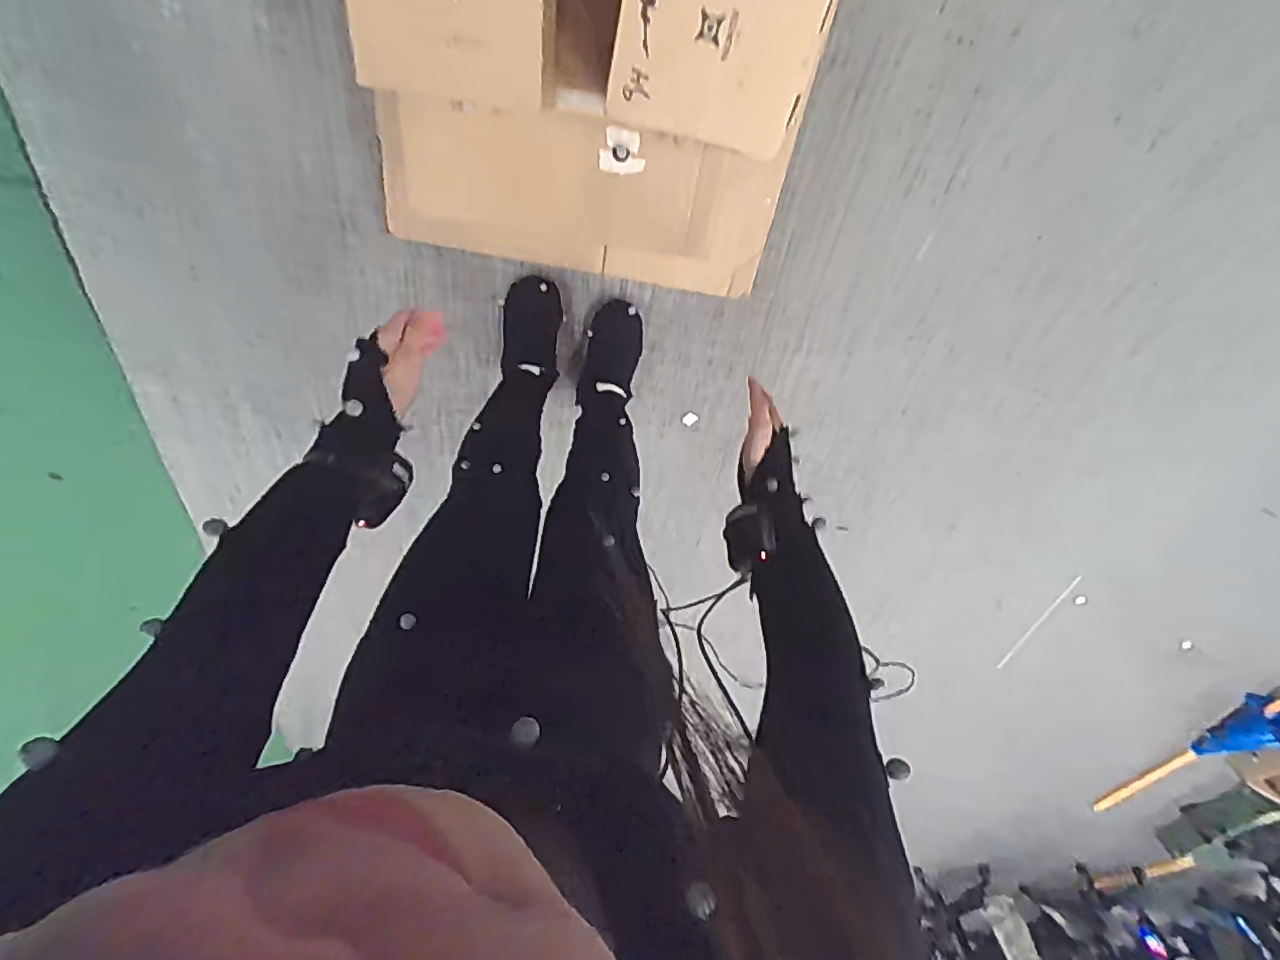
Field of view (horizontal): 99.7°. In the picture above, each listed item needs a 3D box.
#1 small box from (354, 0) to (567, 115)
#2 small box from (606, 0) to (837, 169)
[{"bbox_3d":[-0.159,-0.463,0.512,0.168,0.176,0.179,5,125,-5],"label":"small box"},{"bbox_3d":[0.068,-0.435,0.540,0.179,0.176,0.168,10,125,-10],"label":"small box"}]
